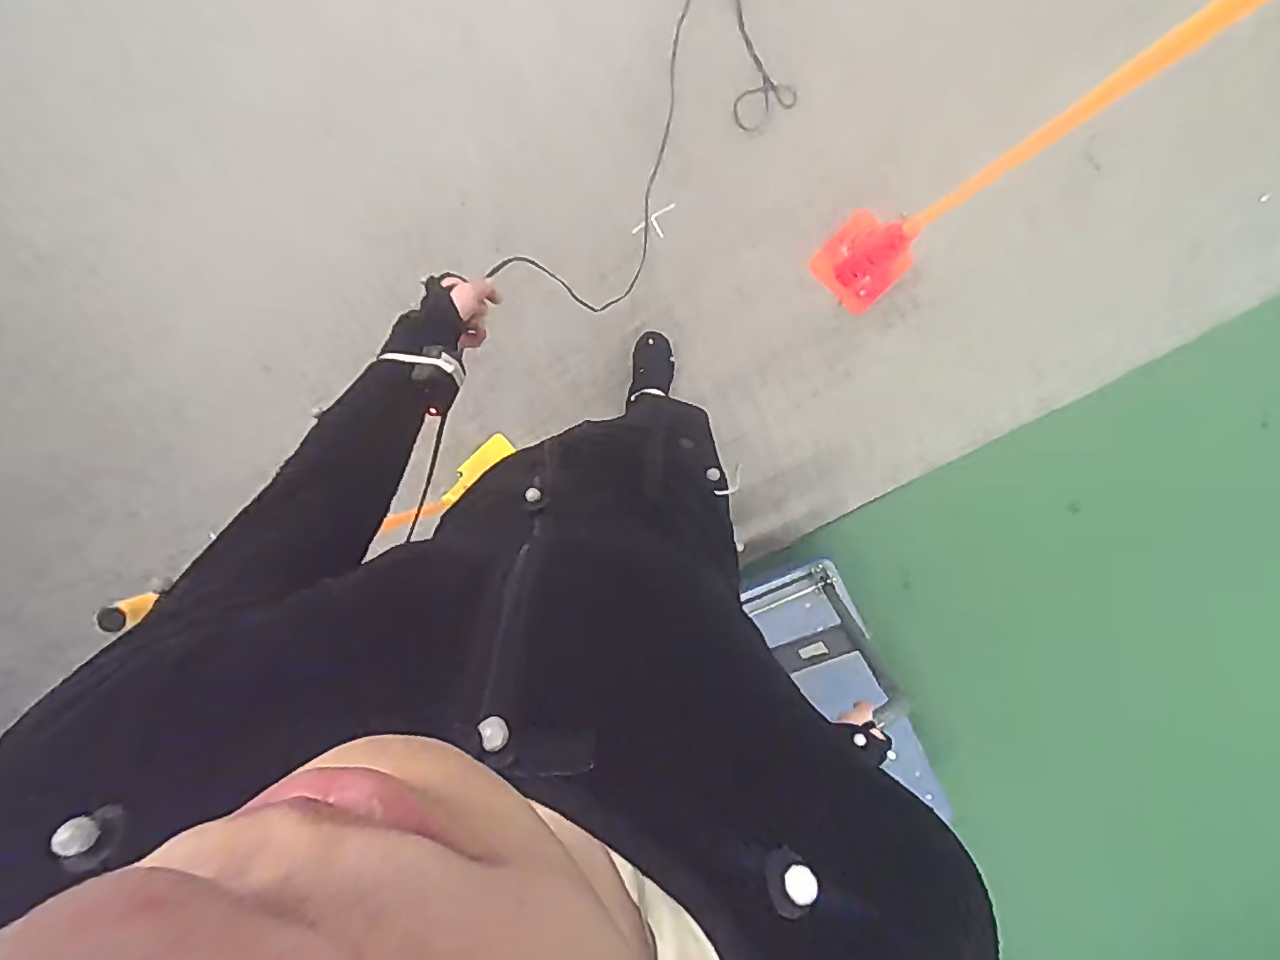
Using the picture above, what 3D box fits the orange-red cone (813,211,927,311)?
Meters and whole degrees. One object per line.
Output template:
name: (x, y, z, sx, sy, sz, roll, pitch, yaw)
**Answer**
orange-red cone: (0.574, -0.546, 1.261, 0.199, 0.360, 0.198, -44, 95, 10)
